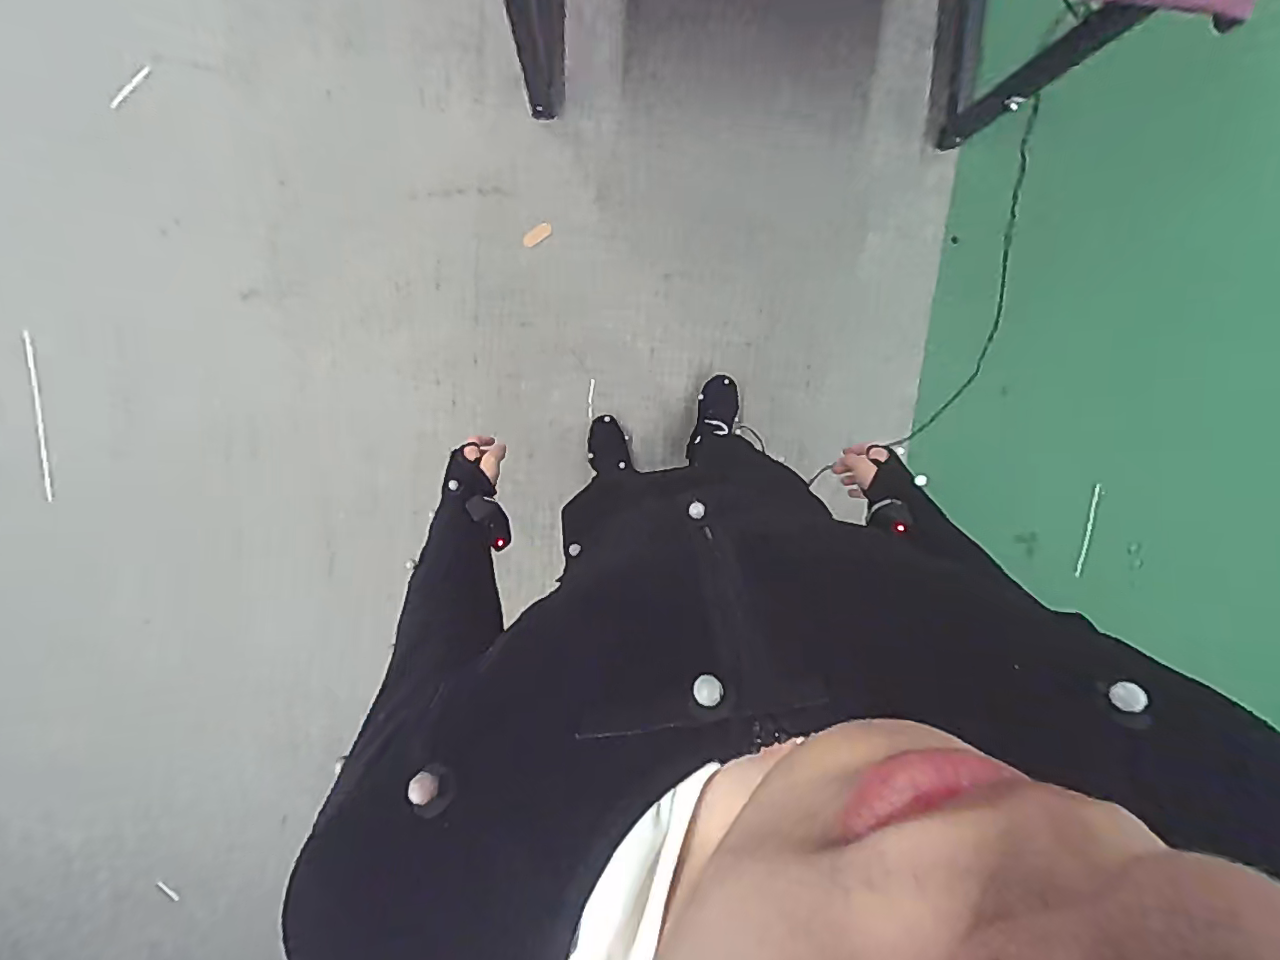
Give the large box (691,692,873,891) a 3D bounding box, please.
[{"bbox_3d":[0.424,0.955,1.697,0.408,0.320,0.320,-30,102,1],"label":"large box"}]
